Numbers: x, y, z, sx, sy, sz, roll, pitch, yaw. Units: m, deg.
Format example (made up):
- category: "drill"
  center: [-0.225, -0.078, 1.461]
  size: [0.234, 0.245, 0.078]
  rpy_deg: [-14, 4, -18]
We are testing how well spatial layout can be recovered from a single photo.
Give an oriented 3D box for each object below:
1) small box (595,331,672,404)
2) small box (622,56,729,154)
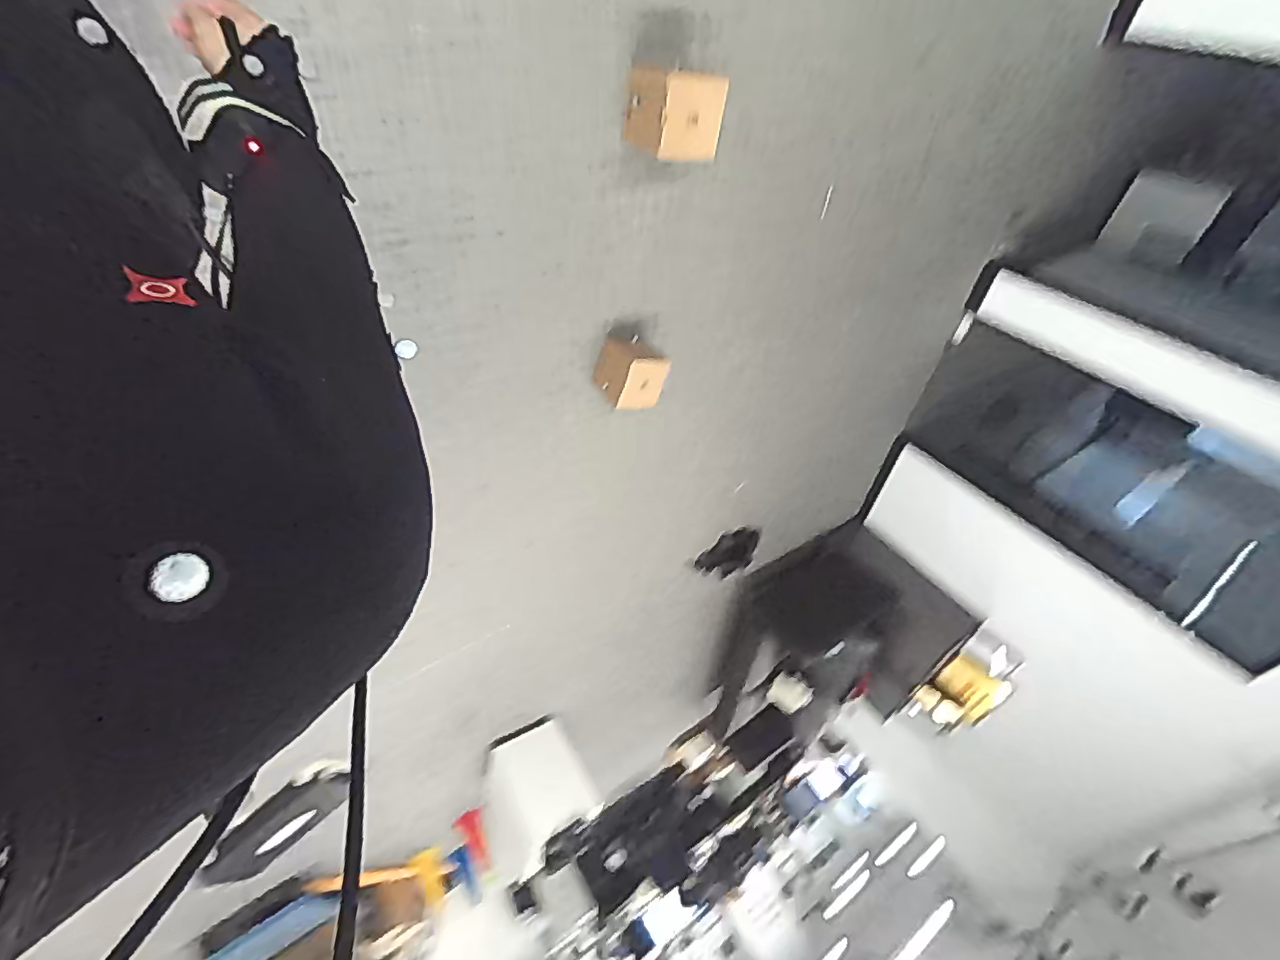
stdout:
- category: "small box"
  center: [-0.027, -0.369, 1.774]
  size: [0.168, 0.176, 0.179]
  rpy_deg: [-10, 134, -38]
- category: "small box"
  center: [0.079, -0.902, 1.301]
  size: [0.179, 0.176, 0.168]
  rpy_deg: [-19, 139, -28]
